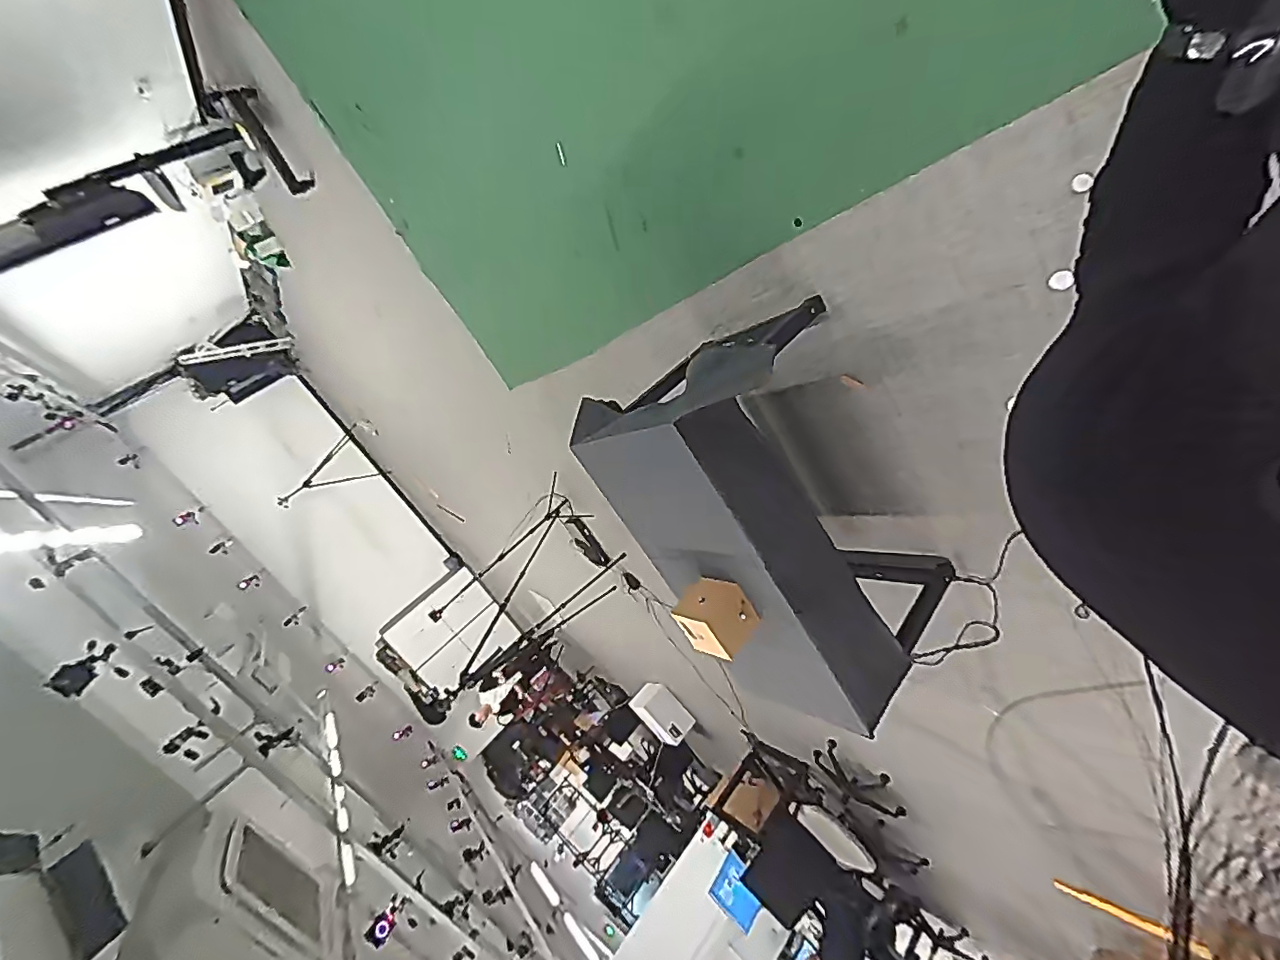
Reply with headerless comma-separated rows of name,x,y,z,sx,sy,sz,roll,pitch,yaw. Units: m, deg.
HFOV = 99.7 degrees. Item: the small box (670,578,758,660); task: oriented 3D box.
small box,0.234,0.425,1.690,0.179,0.176,0.168,-5,124,57
